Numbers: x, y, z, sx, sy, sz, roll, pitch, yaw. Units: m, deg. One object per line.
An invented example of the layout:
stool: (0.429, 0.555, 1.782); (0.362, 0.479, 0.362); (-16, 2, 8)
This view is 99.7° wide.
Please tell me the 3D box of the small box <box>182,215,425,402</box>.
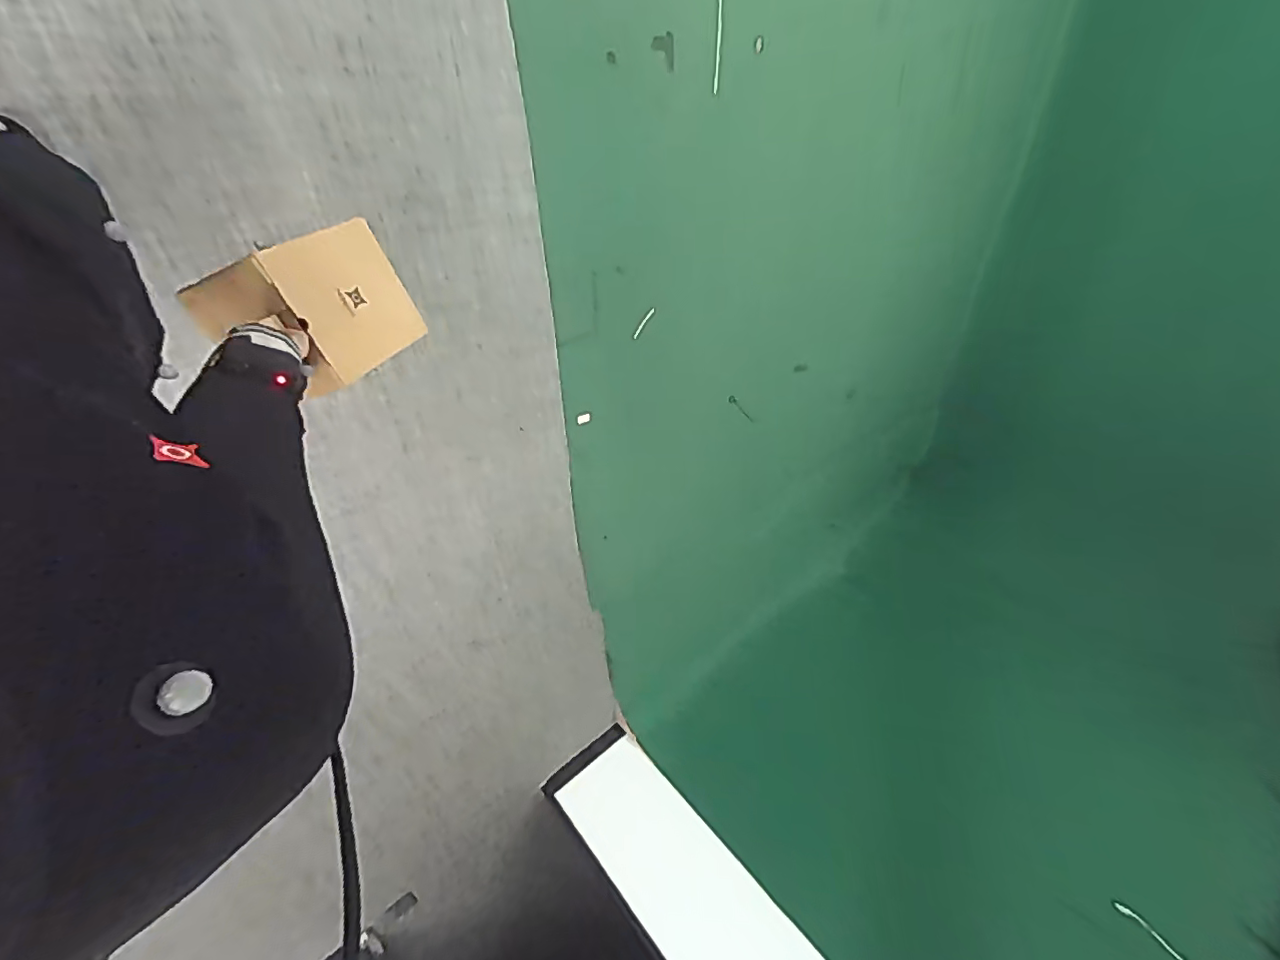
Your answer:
small box: (-0.434, -0.223, 0.714); (0.168, 0.176, 0.179); (66, 32, -31)
